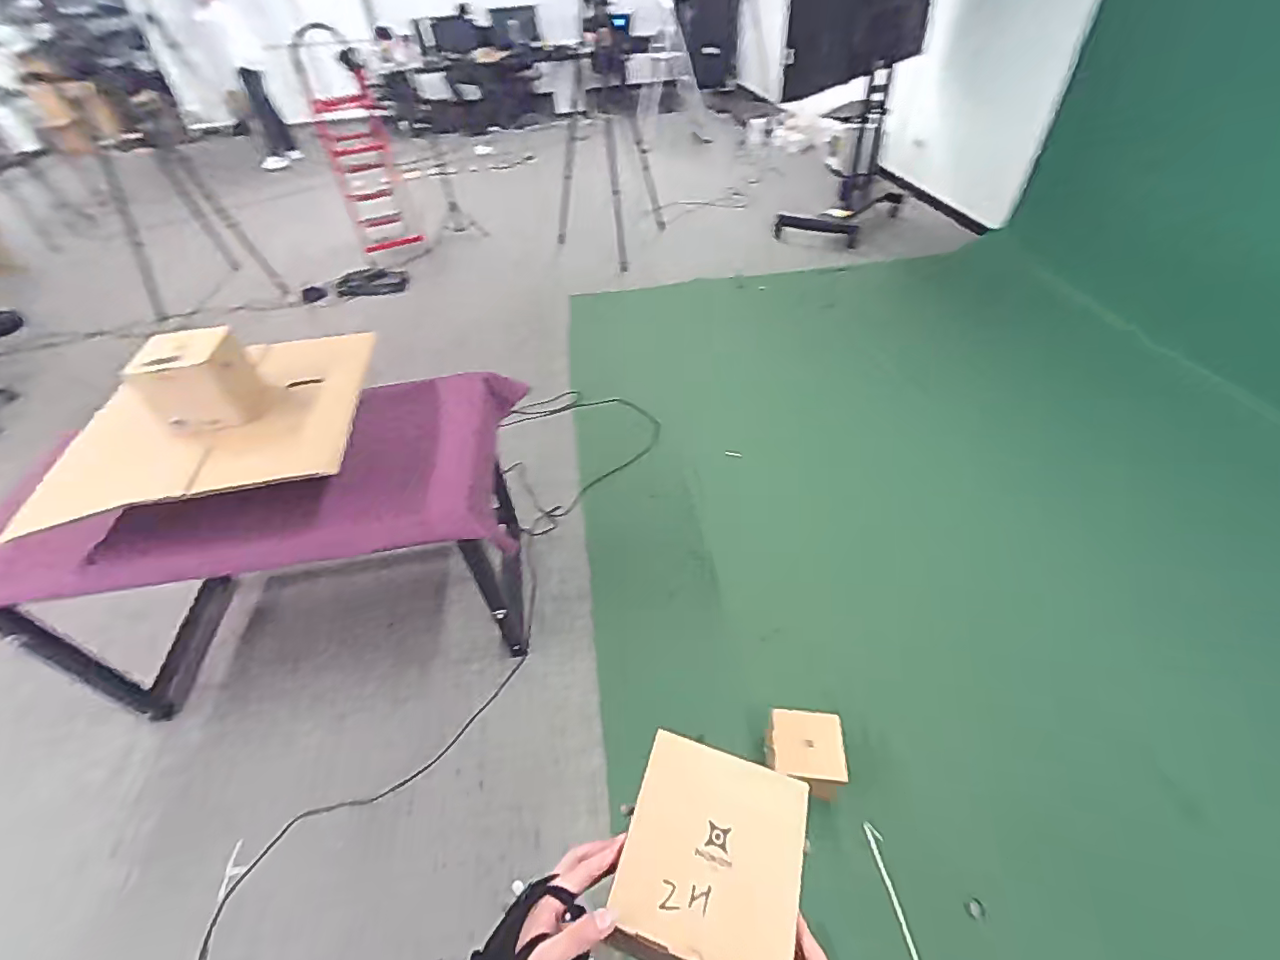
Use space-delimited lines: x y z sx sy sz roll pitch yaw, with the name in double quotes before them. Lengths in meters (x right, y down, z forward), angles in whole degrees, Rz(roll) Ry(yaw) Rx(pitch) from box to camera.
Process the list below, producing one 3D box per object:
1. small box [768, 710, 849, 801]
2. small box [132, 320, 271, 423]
"small box" 0.440 0.735 1.436 0.179 0.176 0.168 2 45 9
"small box" -1.000 -0.245 1.256 0.168 0.176 0.179 -9 44 -7
